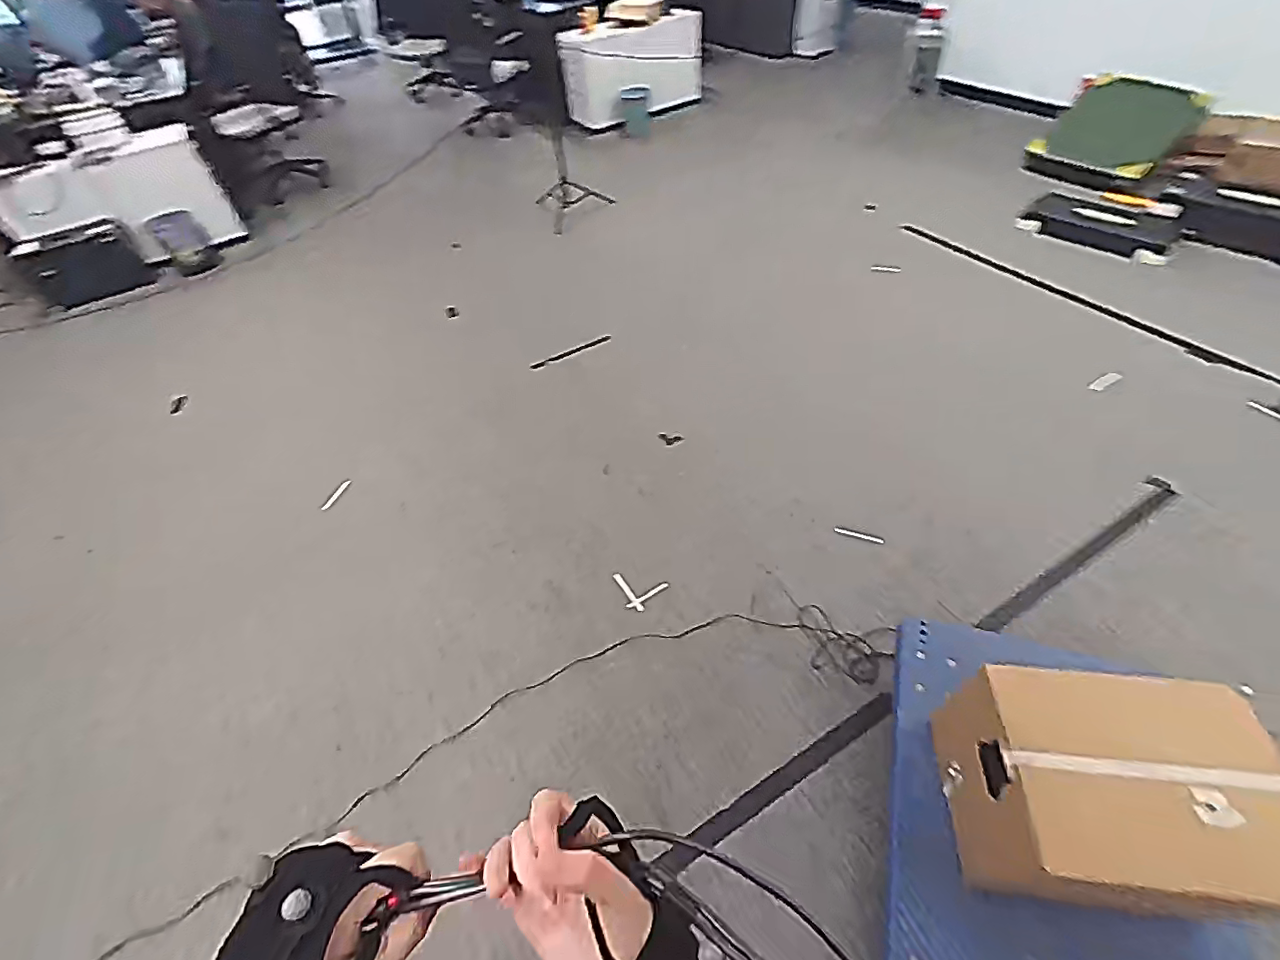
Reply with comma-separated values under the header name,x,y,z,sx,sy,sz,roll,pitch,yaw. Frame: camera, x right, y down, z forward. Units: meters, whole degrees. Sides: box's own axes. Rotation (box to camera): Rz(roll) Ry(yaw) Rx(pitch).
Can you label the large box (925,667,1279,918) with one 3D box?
name,x,y,z,sx,sy,sz,roll,pitch,yaw
large box,0.797,0.557,0.965,0.408,0.320,0.320,3,51,7
